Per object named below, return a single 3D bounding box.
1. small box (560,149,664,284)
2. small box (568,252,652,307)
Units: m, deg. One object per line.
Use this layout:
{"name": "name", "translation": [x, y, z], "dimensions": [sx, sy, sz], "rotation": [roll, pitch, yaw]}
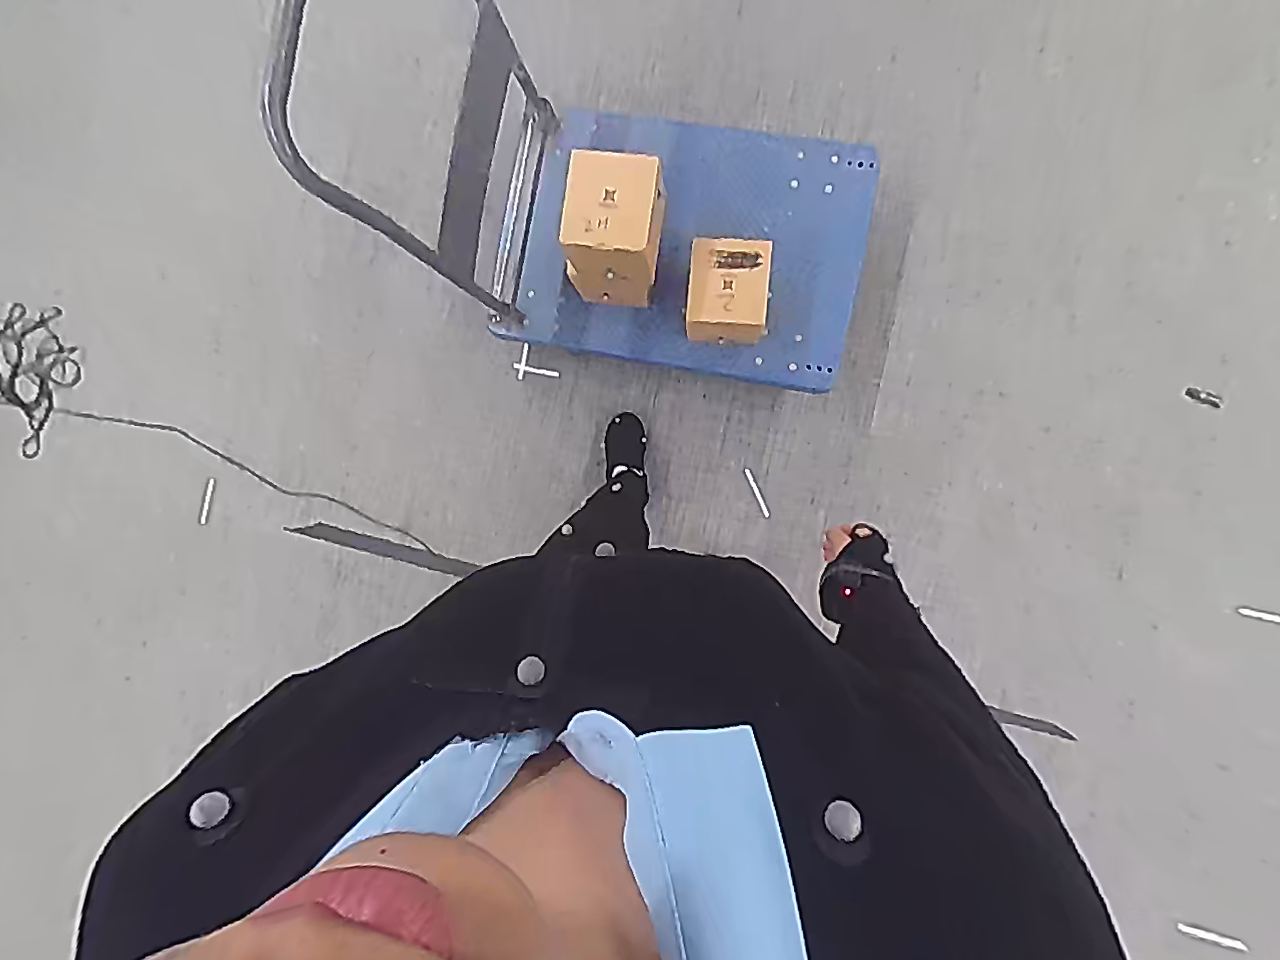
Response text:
{"name": "small box", "translation": [-0.047, -0.507, 1.058], "dimensions": [0.168, 0.176, 0.179], "rotation": [8, 91, 6]}
{"name": "small box", "translation": [-0.056, -0.512, 1.224], "dimensions": [0.168, 0.176, 0.179], "rotation": [8, 91, 6]}
